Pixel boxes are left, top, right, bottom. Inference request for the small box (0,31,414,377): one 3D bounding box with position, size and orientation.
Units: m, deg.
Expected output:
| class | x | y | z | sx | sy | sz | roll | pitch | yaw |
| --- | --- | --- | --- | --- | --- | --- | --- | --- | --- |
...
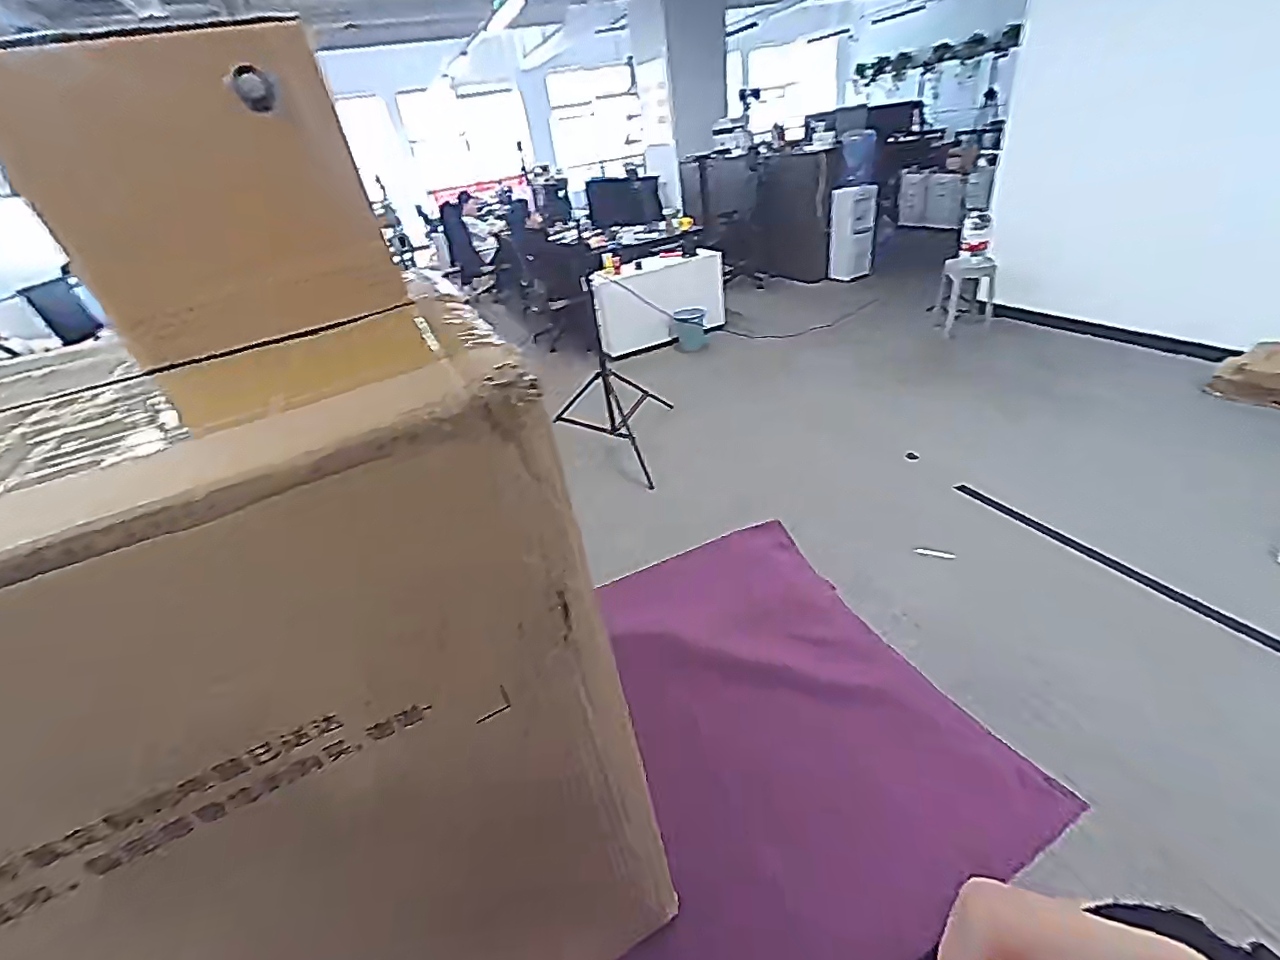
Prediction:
| class | x | y | z | sx | sy | sz | roll | pitch | yaw |
| --- | --- | --- | --- | --- | --- | --- | --- | --- | --- |
| small box | -0.287 | -0.188 | 0.391 | 0.179 | 0.176 | 0.168 | -22 | 33 | -18 |
